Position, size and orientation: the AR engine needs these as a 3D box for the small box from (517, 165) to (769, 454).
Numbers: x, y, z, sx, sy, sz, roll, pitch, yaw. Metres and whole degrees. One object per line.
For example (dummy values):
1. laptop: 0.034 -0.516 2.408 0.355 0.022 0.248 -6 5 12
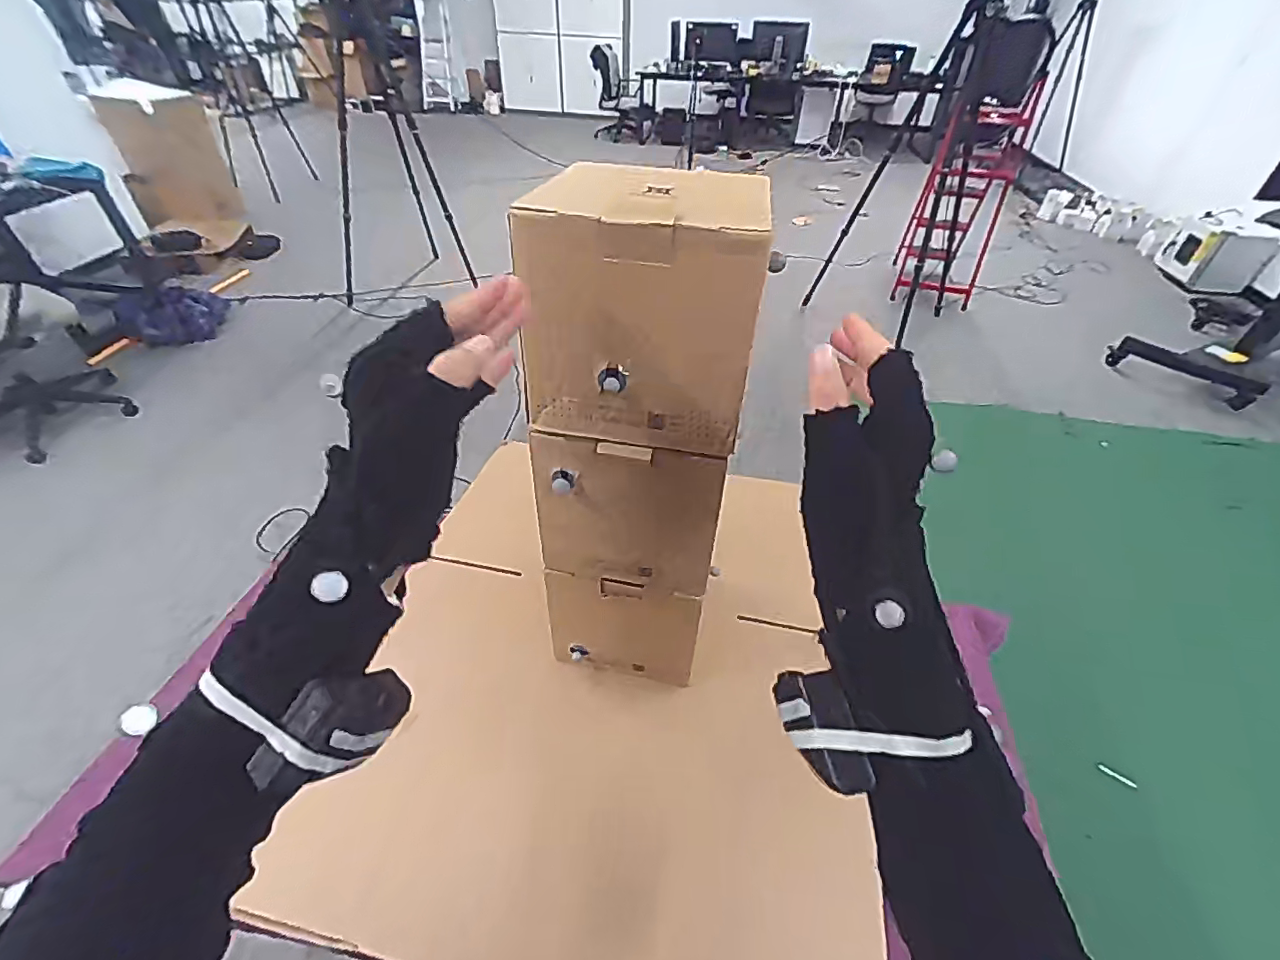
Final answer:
1. small box: 0.009 -0.146 0.452 0.168 0.176 0.179 8 40 6

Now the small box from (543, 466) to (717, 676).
1. small box: -0.005 0.110 0.657 0.168 0.176 0.179 9 40 8
